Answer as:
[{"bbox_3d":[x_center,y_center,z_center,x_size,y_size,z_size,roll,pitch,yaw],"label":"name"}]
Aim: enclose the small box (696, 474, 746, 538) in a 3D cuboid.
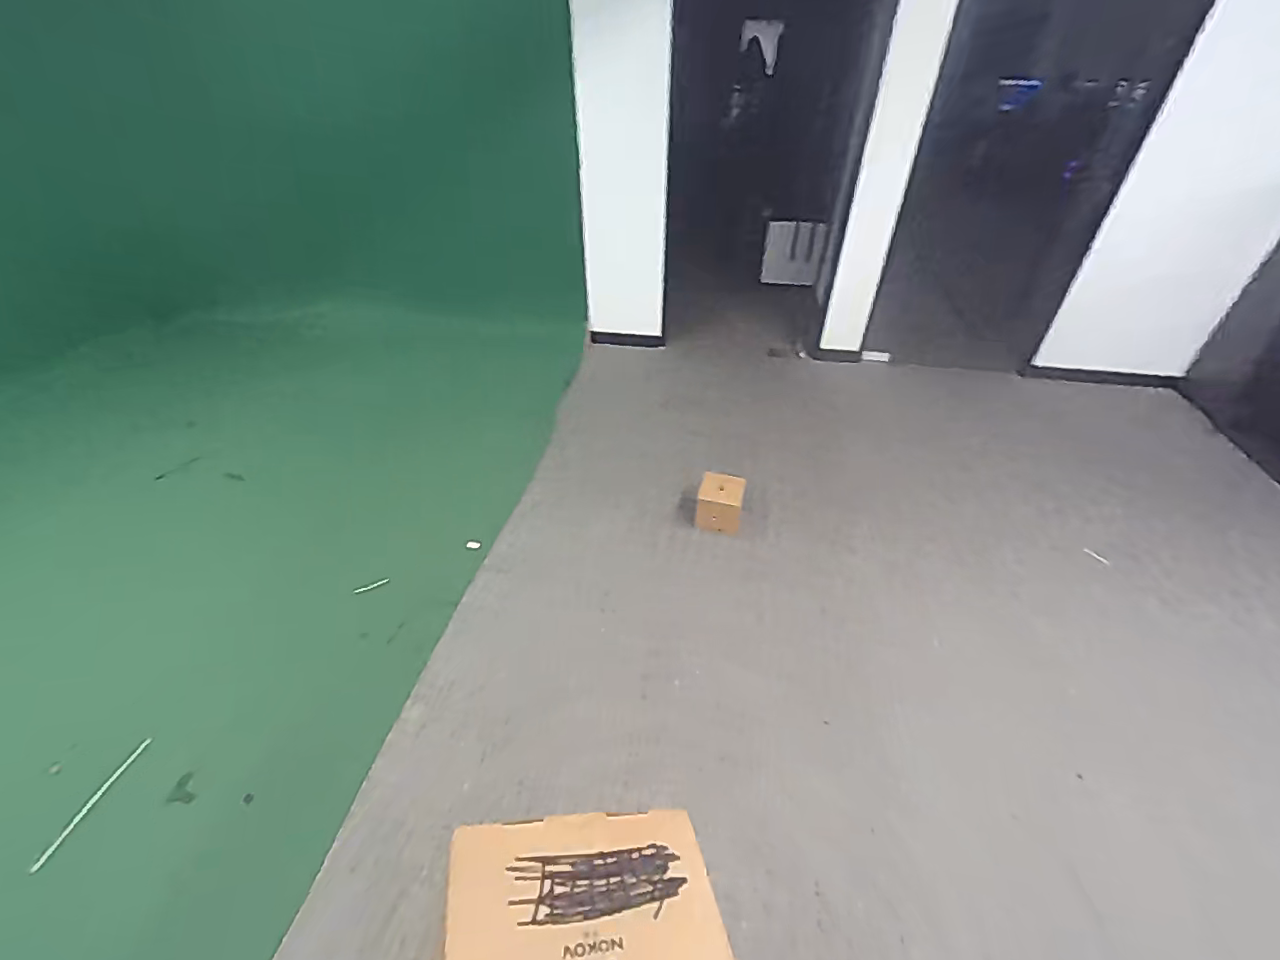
[{"bbox_3d":[0.320,0.105,2.158,0.168,0.176,0.179,11,40,13],"label":"small box"}]
